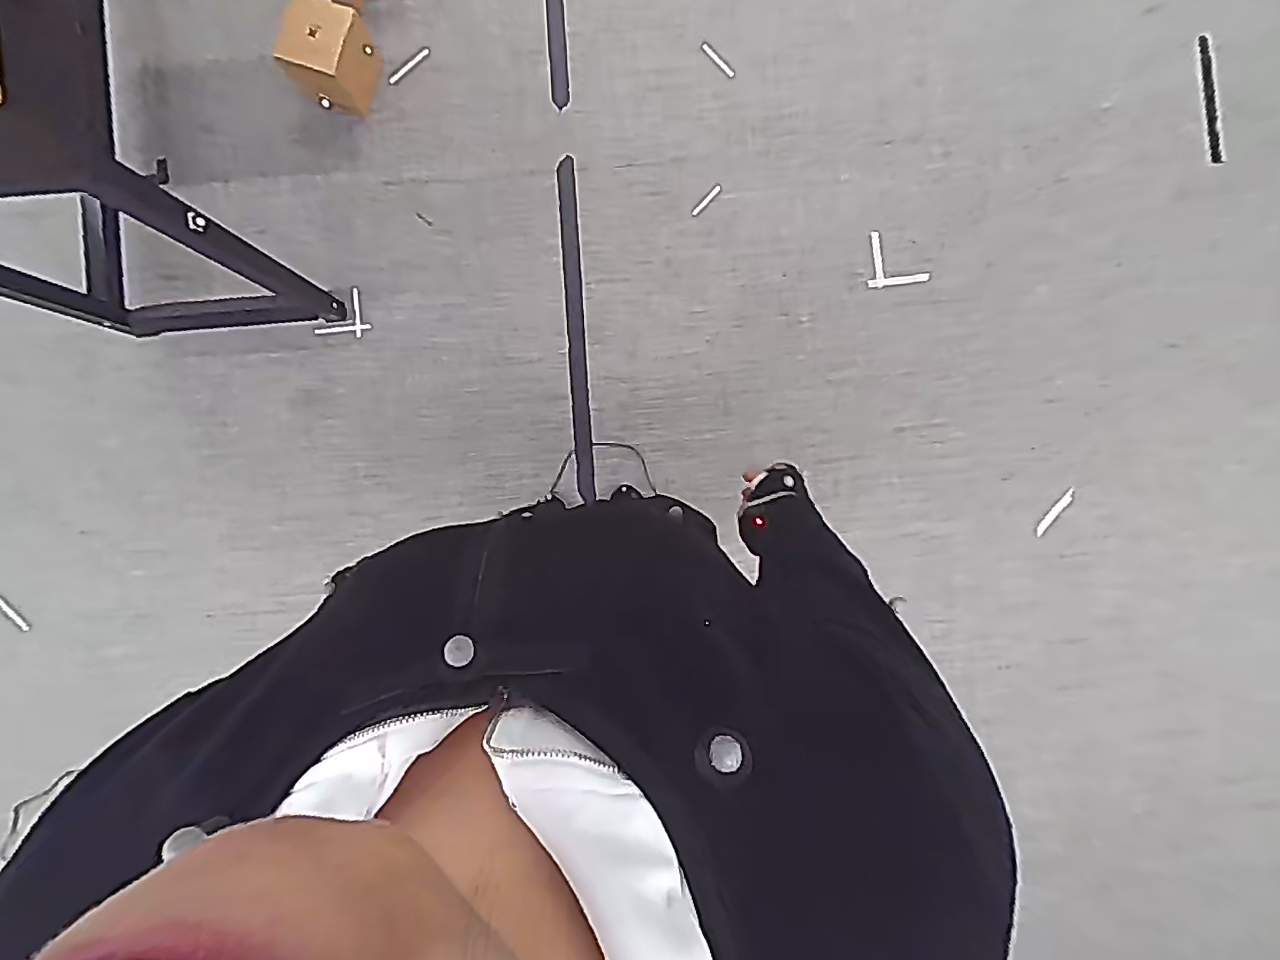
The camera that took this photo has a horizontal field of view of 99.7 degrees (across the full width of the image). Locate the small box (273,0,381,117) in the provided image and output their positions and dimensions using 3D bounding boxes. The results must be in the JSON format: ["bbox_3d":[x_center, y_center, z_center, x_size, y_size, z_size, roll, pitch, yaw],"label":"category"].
[{"bbox_3d":[-0.808,-1.108,1.416,0.168,0.176,0.179,16,91,0],"label":"small box"}]
